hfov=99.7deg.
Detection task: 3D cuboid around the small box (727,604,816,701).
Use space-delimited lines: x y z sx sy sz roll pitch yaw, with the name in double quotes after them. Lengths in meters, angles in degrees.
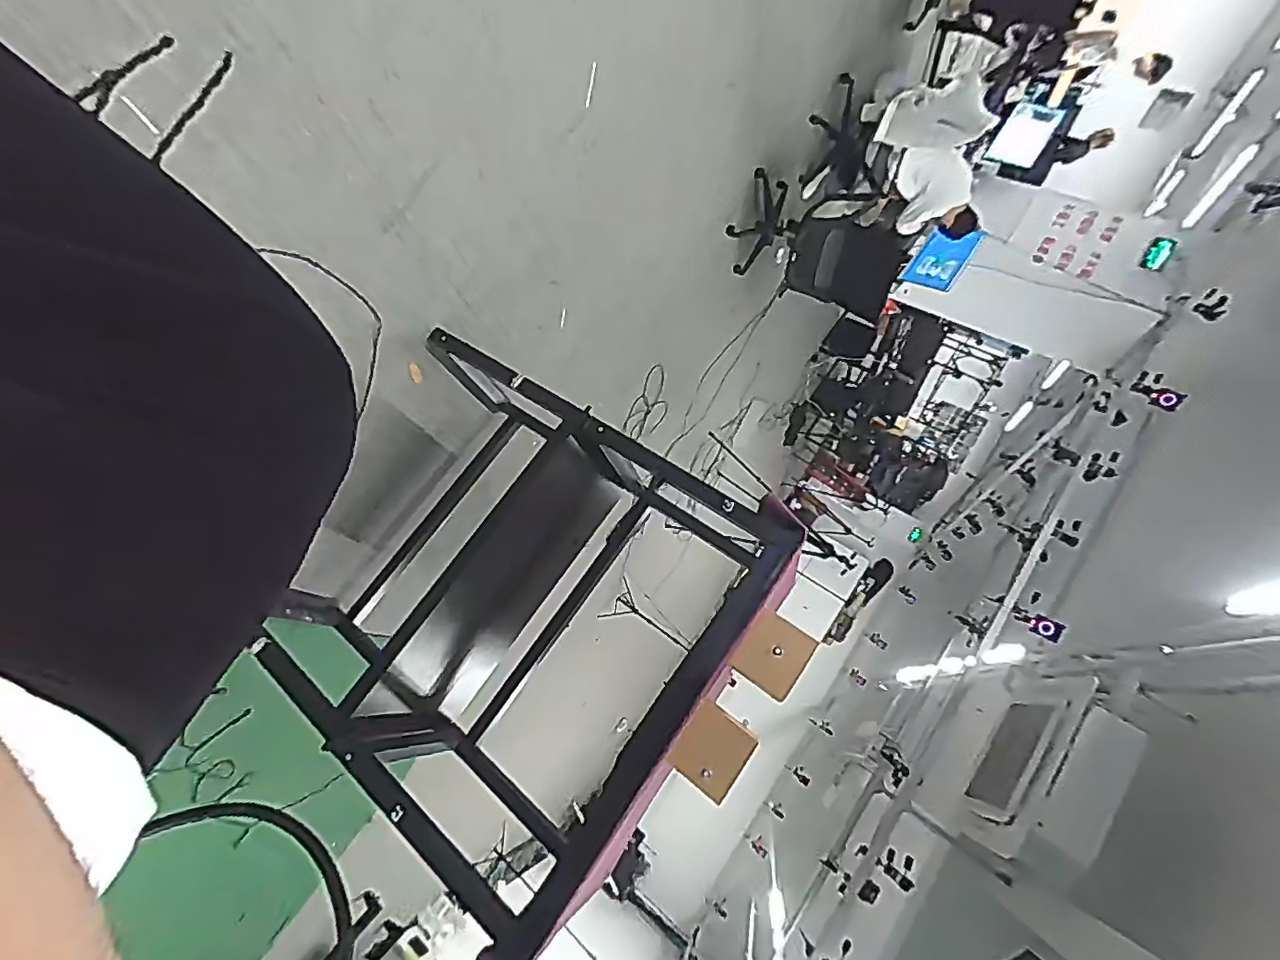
0.340 0.457 1.425 0.179 0.176 0.168 -54 158 -12 "small box"
